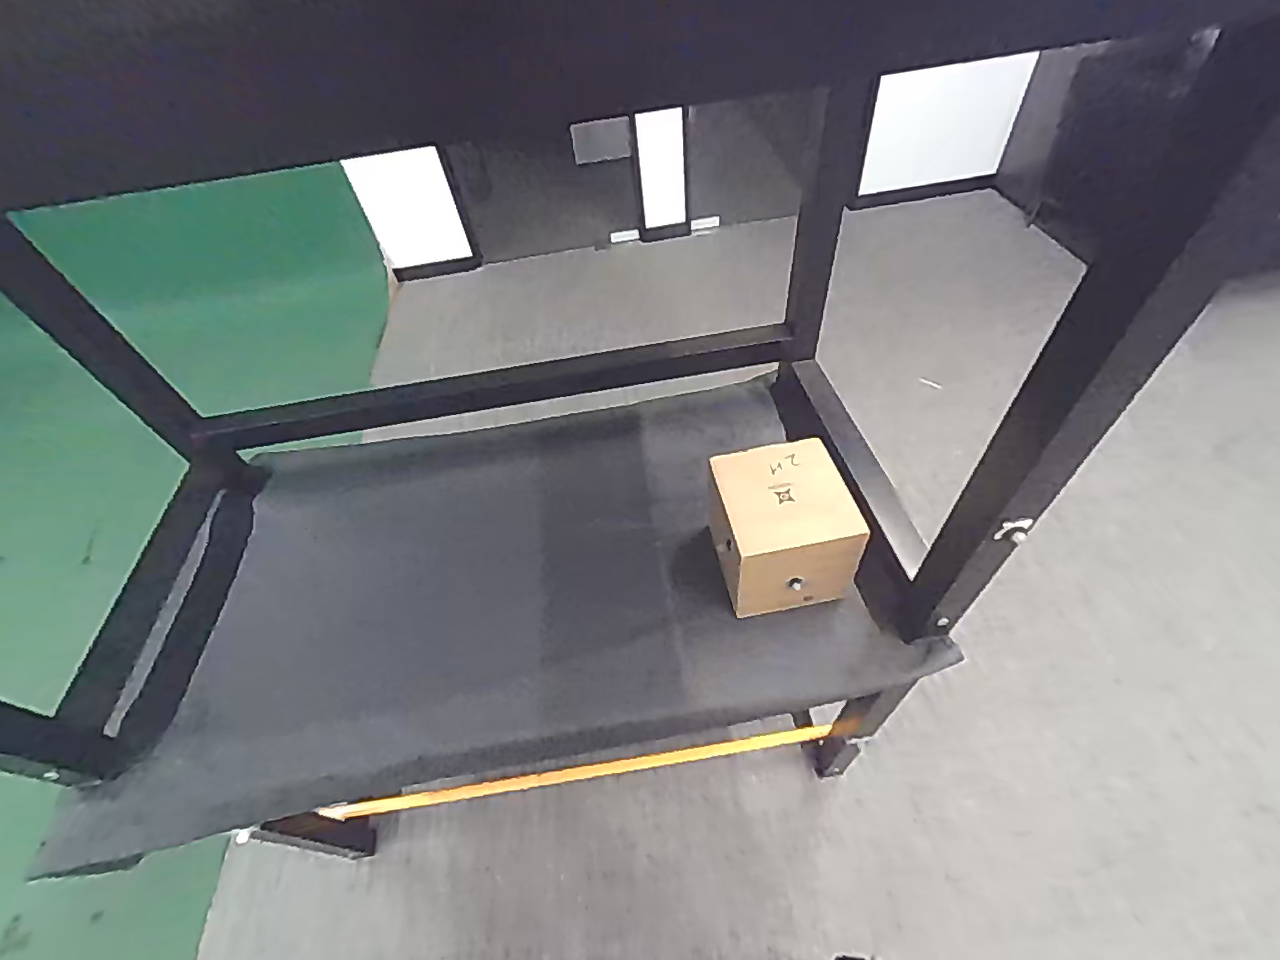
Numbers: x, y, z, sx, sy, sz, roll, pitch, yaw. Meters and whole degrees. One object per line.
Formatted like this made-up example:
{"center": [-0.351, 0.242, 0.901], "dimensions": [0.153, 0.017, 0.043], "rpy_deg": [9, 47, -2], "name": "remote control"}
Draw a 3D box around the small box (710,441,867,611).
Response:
{"center": [0.201, 0.074, 0.783], "dimensions": [0.168, 0.176, 0.179], "rpy_deg": [-10, 49, -2], "name": "small box"}
